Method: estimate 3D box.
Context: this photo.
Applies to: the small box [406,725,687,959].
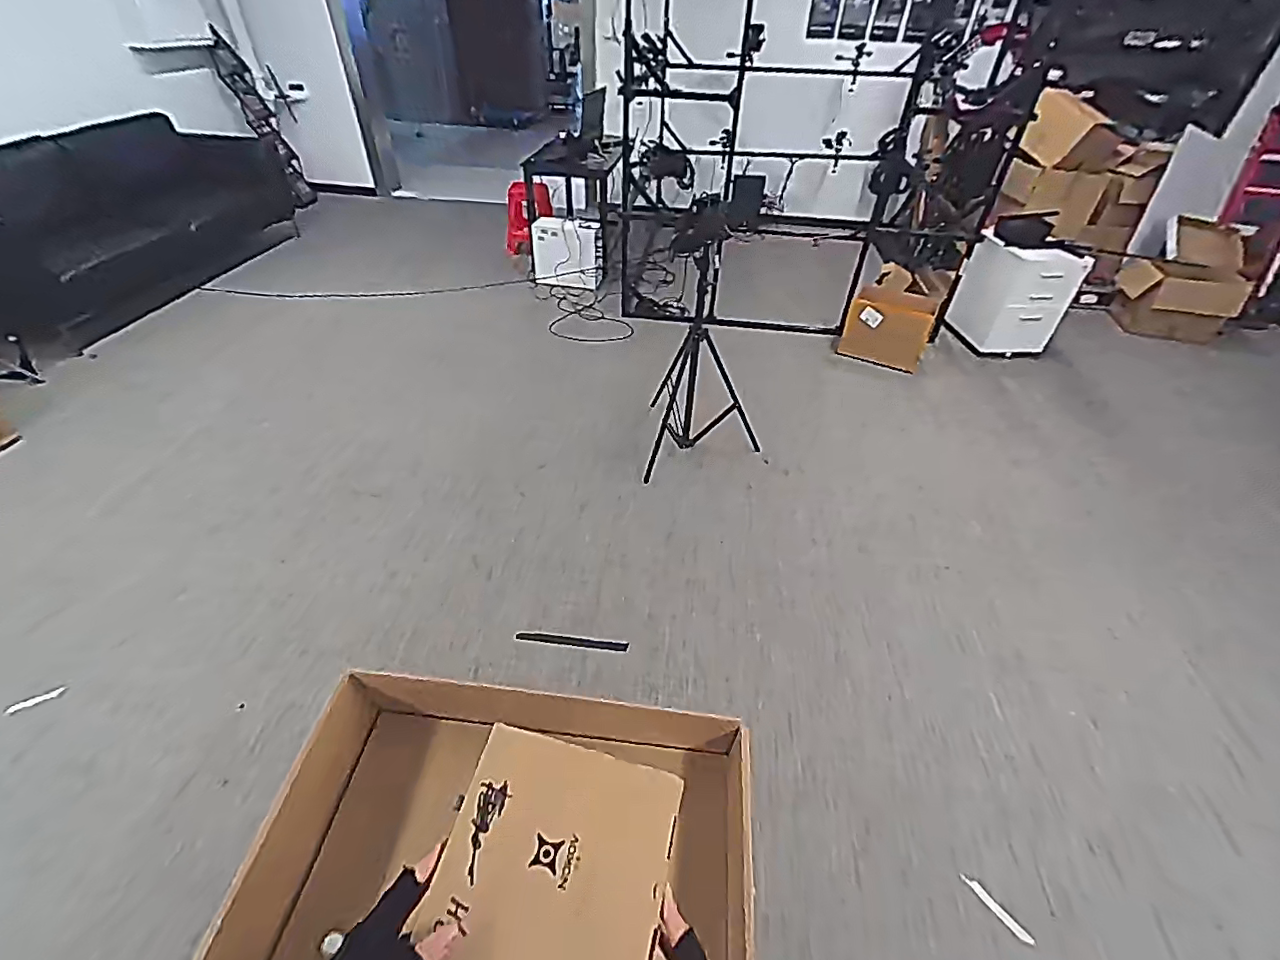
[{"bbox_3d":[-0.069,0.346,0.481,0.179,0.176,0.168,14,50,5],"label":"small box"}]
